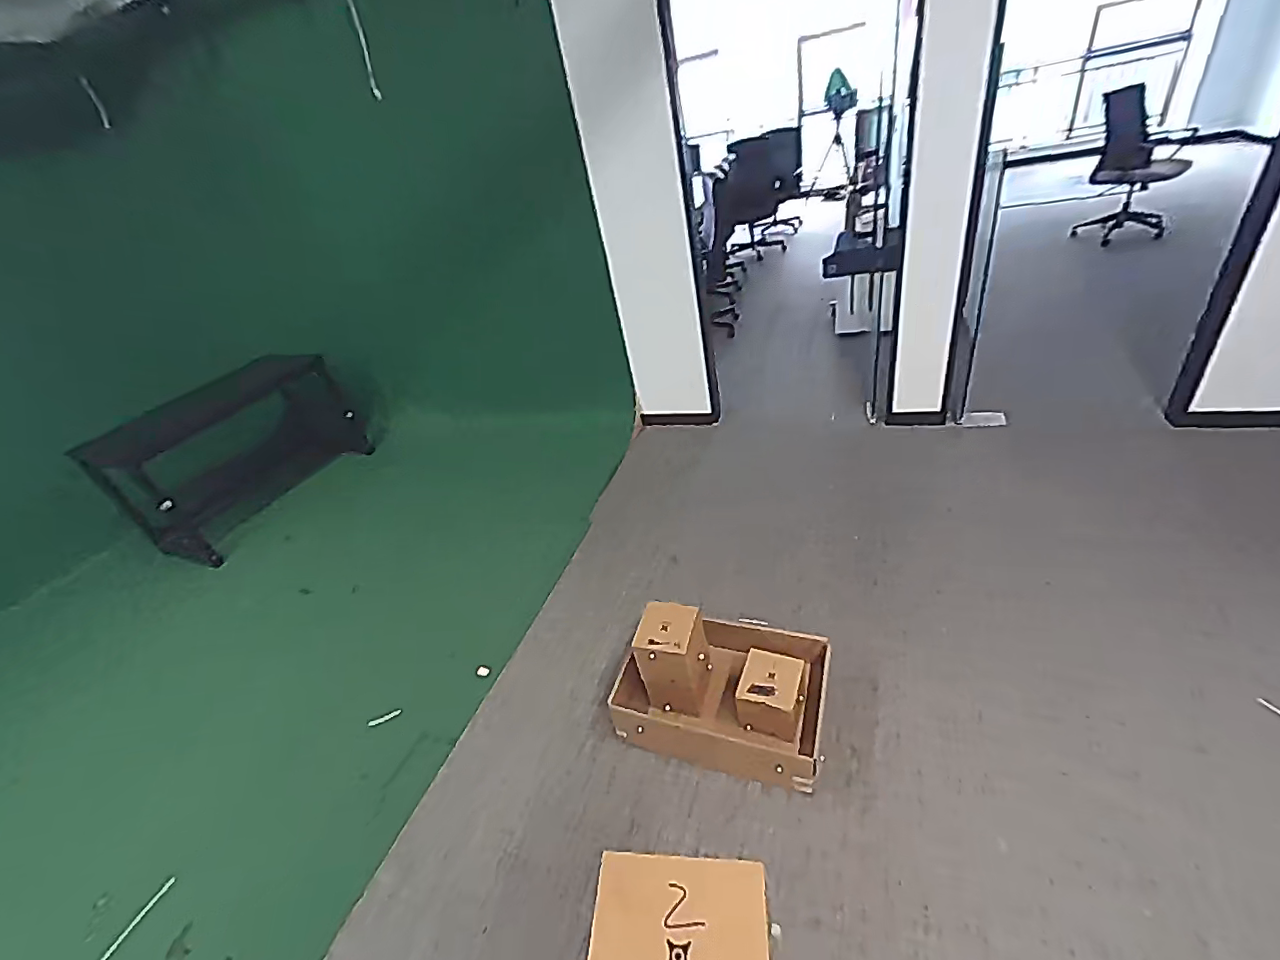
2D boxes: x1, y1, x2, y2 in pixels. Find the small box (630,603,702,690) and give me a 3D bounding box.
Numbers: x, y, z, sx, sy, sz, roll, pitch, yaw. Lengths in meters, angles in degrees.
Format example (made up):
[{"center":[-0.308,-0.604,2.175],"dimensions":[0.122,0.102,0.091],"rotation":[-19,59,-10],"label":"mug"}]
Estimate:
[{"center":[0.086,0.502,1.638],"dimensions":[0.168,0.176,0.179],"rotation":[2,36,21],"label":"small box"}]
